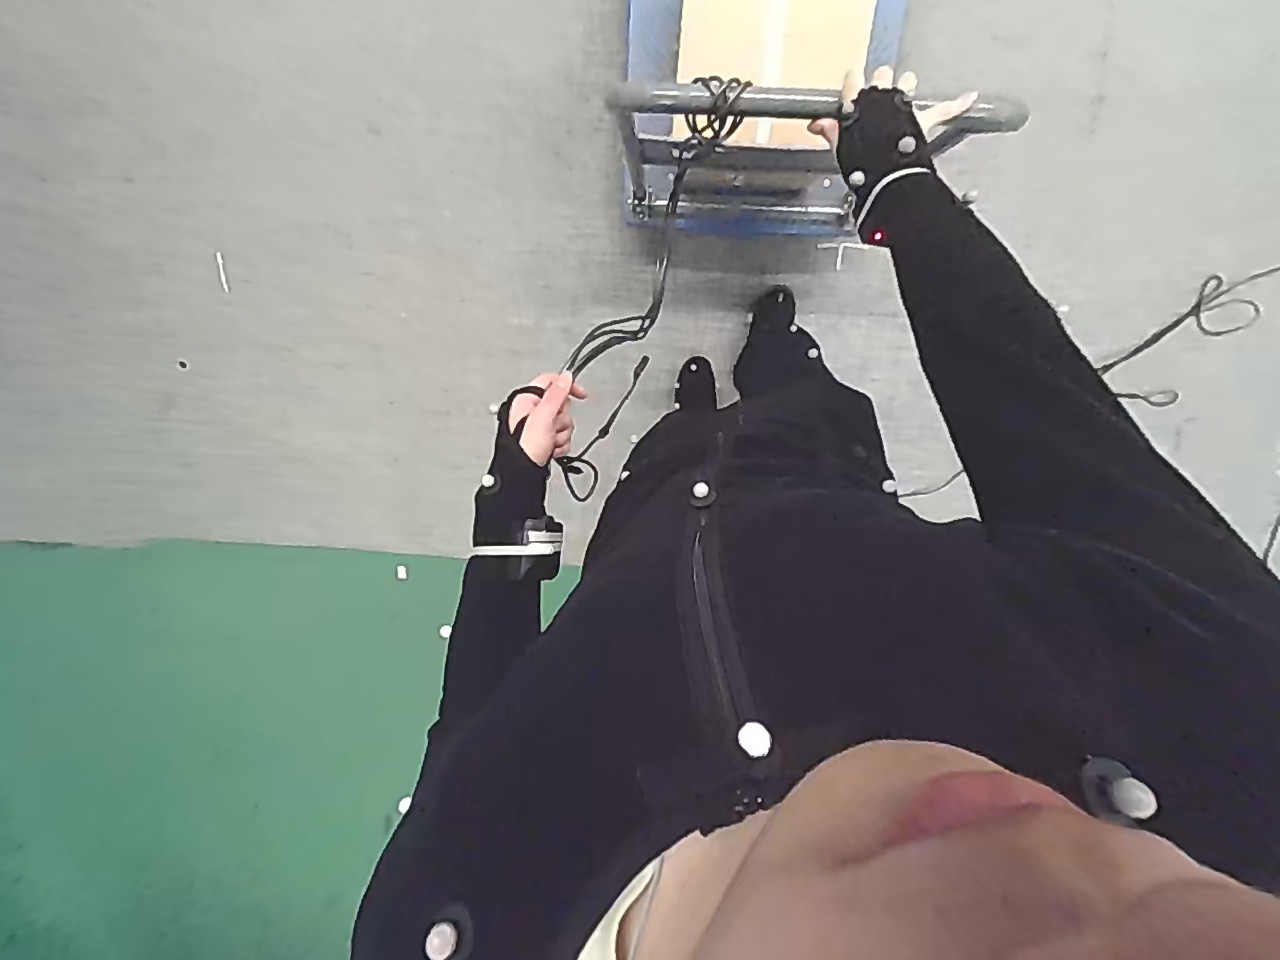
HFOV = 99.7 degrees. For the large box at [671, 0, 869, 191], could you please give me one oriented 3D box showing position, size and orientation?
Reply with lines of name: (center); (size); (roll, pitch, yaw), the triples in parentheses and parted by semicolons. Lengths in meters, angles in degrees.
large box: (0.233, -0.814, 1.044); (0.320, 0.320, 0.408); (5, 108, 2)
